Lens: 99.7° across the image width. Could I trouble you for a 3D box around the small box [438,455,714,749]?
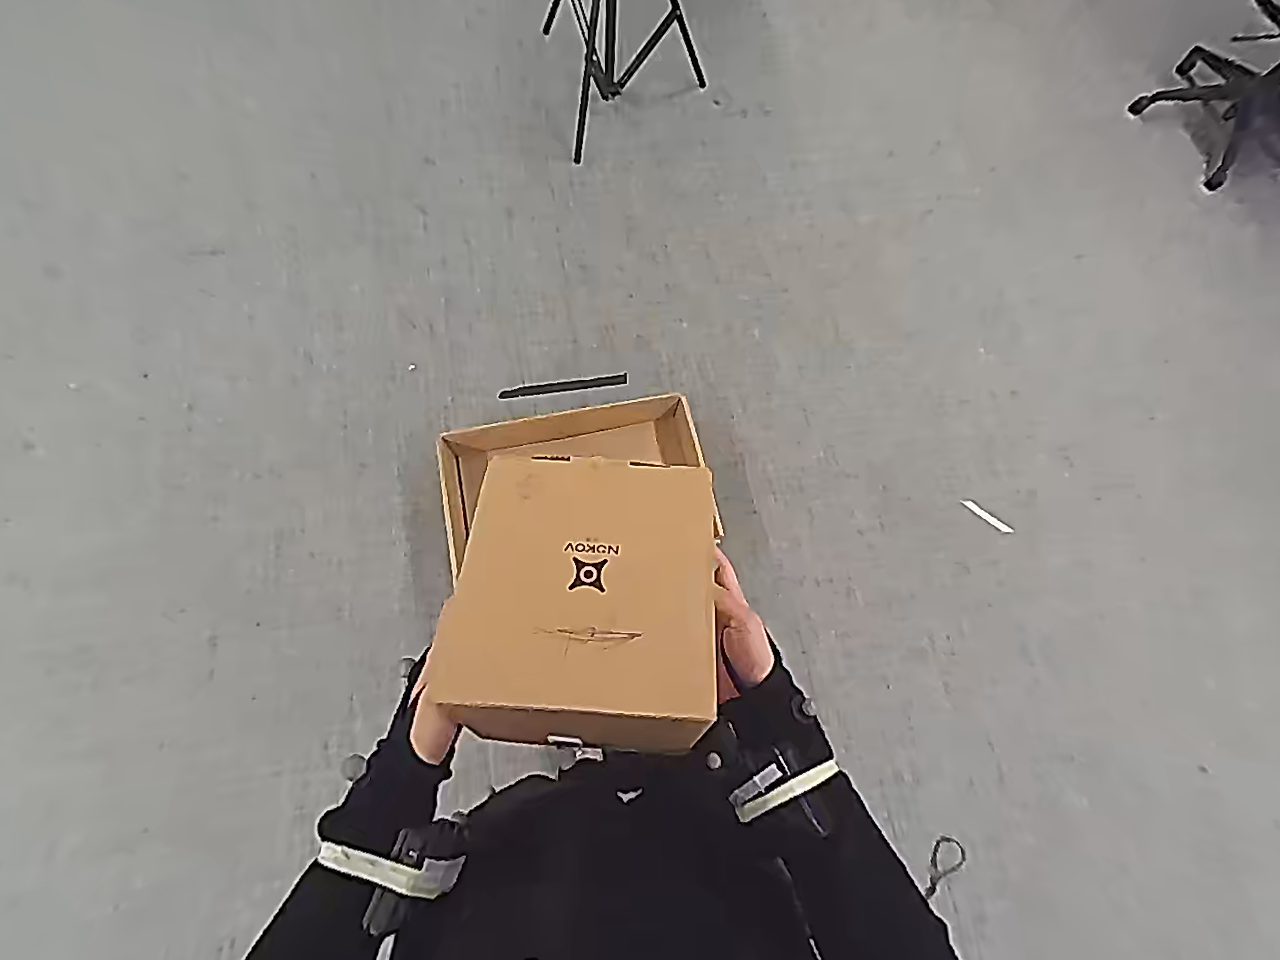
[{"bbox_3d":[-0.037,0.101,0.426,0.168,0.176,0.179,3,58,0],"label":"small box"}]
